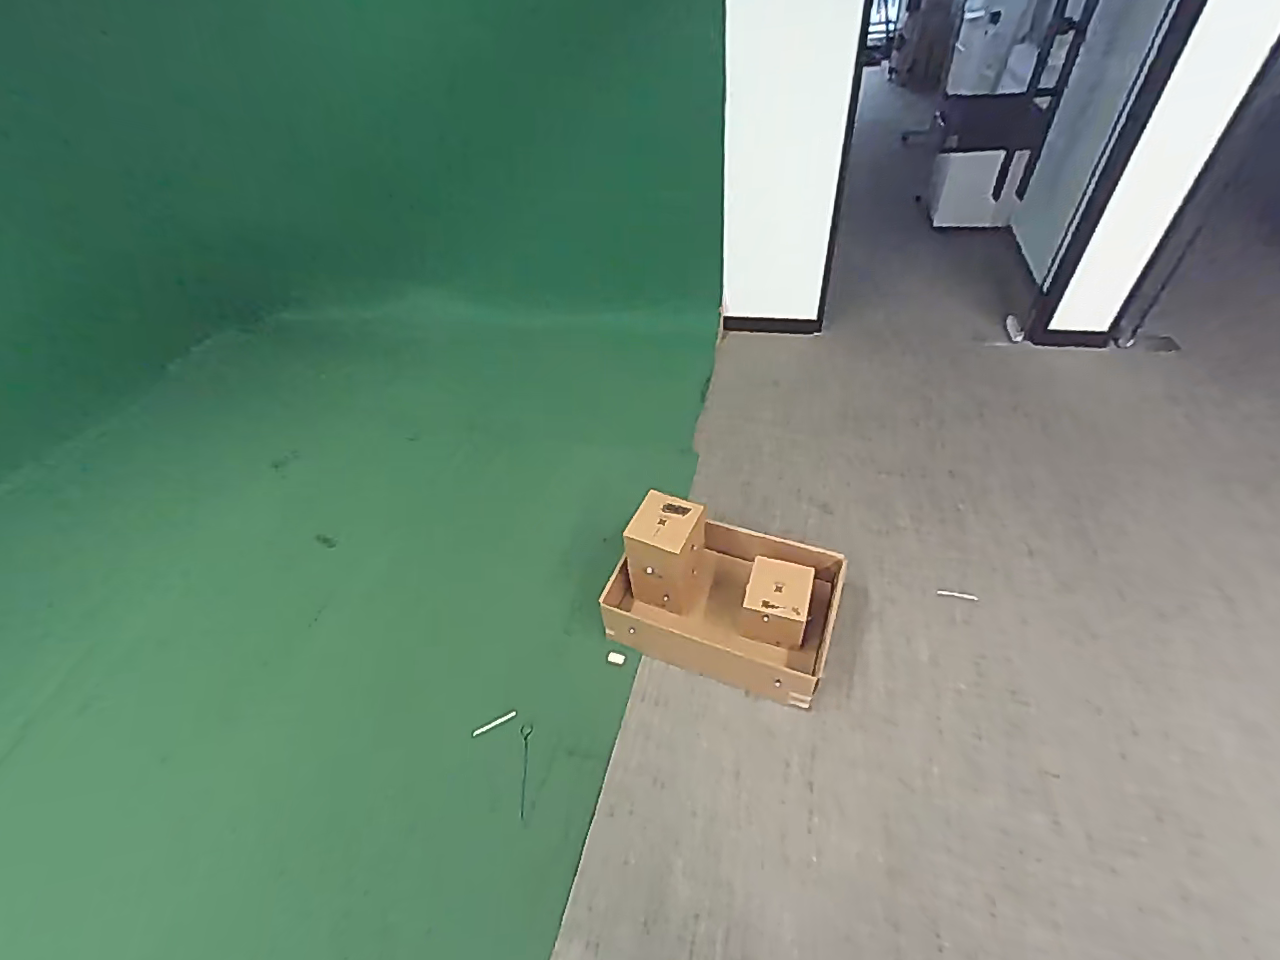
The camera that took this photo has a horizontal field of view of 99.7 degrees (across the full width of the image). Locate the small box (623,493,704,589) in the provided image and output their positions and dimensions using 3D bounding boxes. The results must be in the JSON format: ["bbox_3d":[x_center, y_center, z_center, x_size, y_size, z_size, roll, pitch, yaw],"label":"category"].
[{"bbox_3d":[0.070,0.170,1.508,0.168,0.176,0.179,17,52,21],"label":"small box"}]

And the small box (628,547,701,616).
[{"bbox_3d":[0.082,0.280,1.629,0.168,0.176,0.179,16,50,20],"label":"small box"}]
